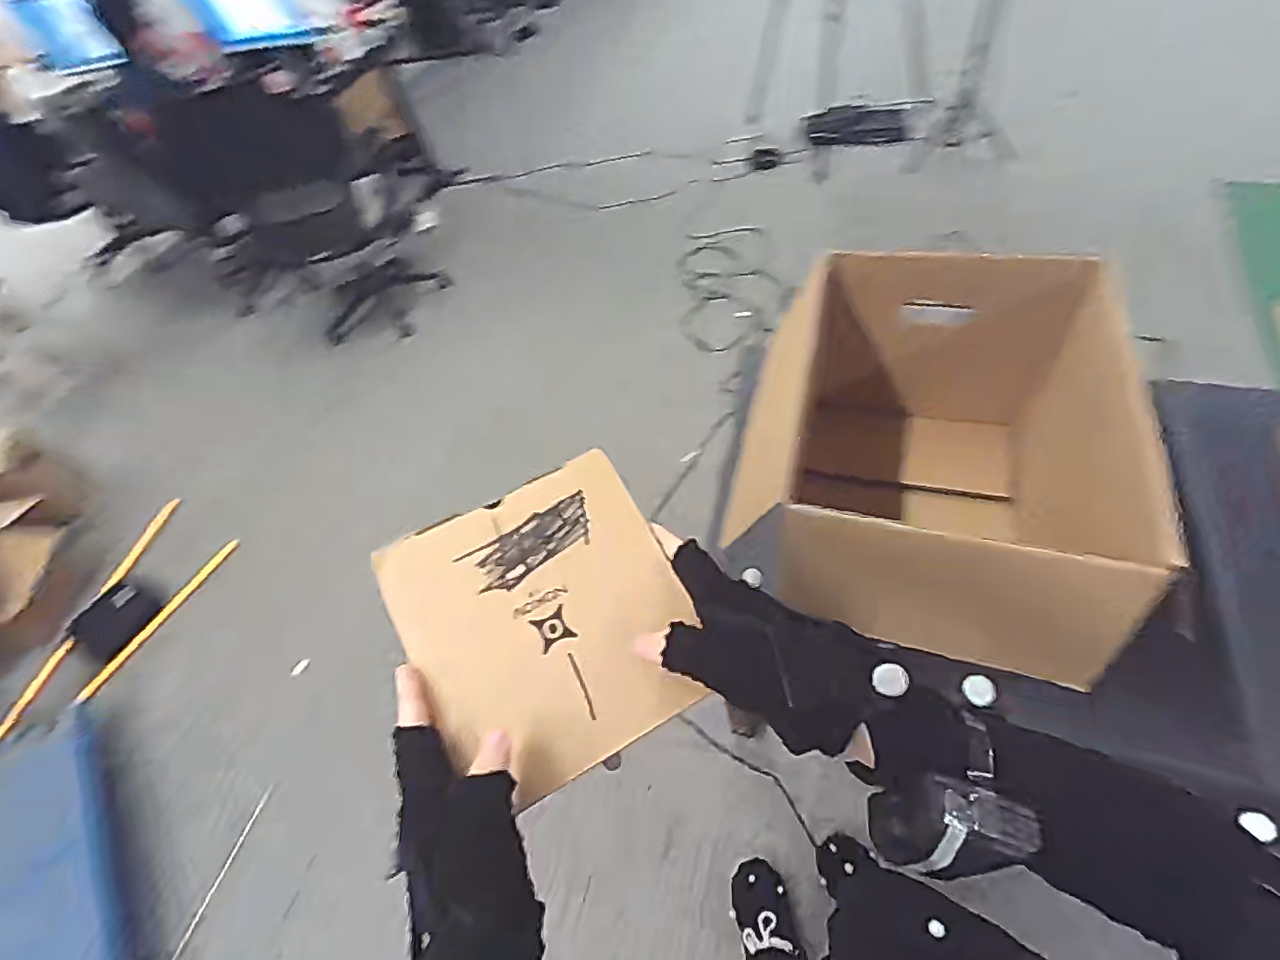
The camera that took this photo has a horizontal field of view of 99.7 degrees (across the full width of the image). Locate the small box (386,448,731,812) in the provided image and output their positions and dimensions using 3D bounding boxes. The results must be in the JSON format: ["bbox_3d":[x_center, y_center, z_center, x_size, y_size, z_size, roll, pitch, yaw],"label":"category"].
[{"bbox_3d":[-0.060,0.109,0.408,0.168,0.176,0.179,-24,72,-14],"label":"small box"}]
